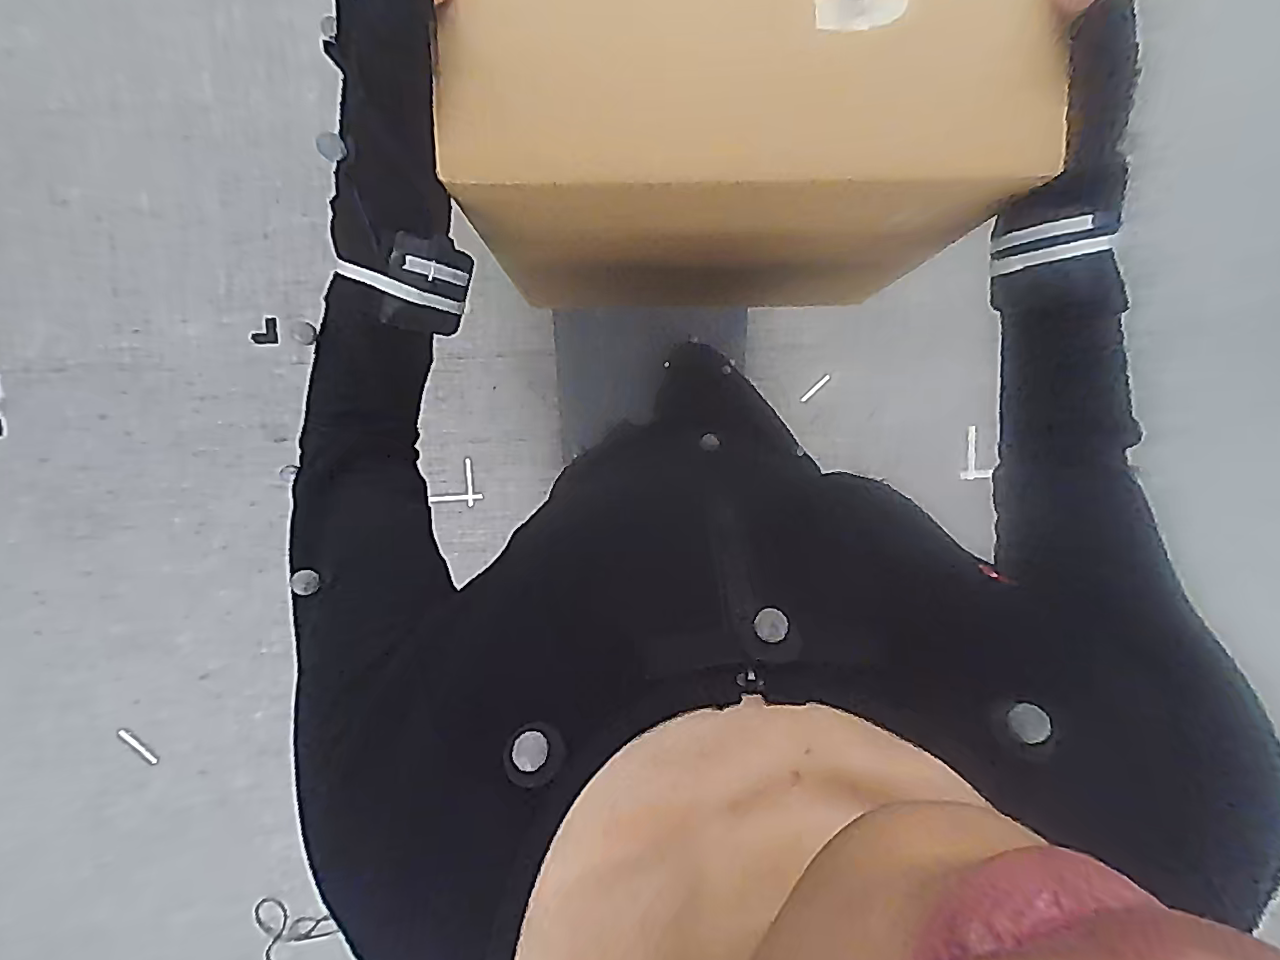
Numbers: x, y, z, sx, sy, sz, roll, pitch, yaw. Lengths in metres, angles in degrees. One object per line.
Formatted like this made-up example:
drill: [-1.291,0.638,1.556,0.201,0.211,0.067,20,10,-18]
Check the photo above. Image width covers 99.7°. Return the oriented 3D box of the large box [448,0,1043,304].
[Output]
large box: [0.065,-0.367,0.506,0.408,0.320,0.320,-2,93,-1]
